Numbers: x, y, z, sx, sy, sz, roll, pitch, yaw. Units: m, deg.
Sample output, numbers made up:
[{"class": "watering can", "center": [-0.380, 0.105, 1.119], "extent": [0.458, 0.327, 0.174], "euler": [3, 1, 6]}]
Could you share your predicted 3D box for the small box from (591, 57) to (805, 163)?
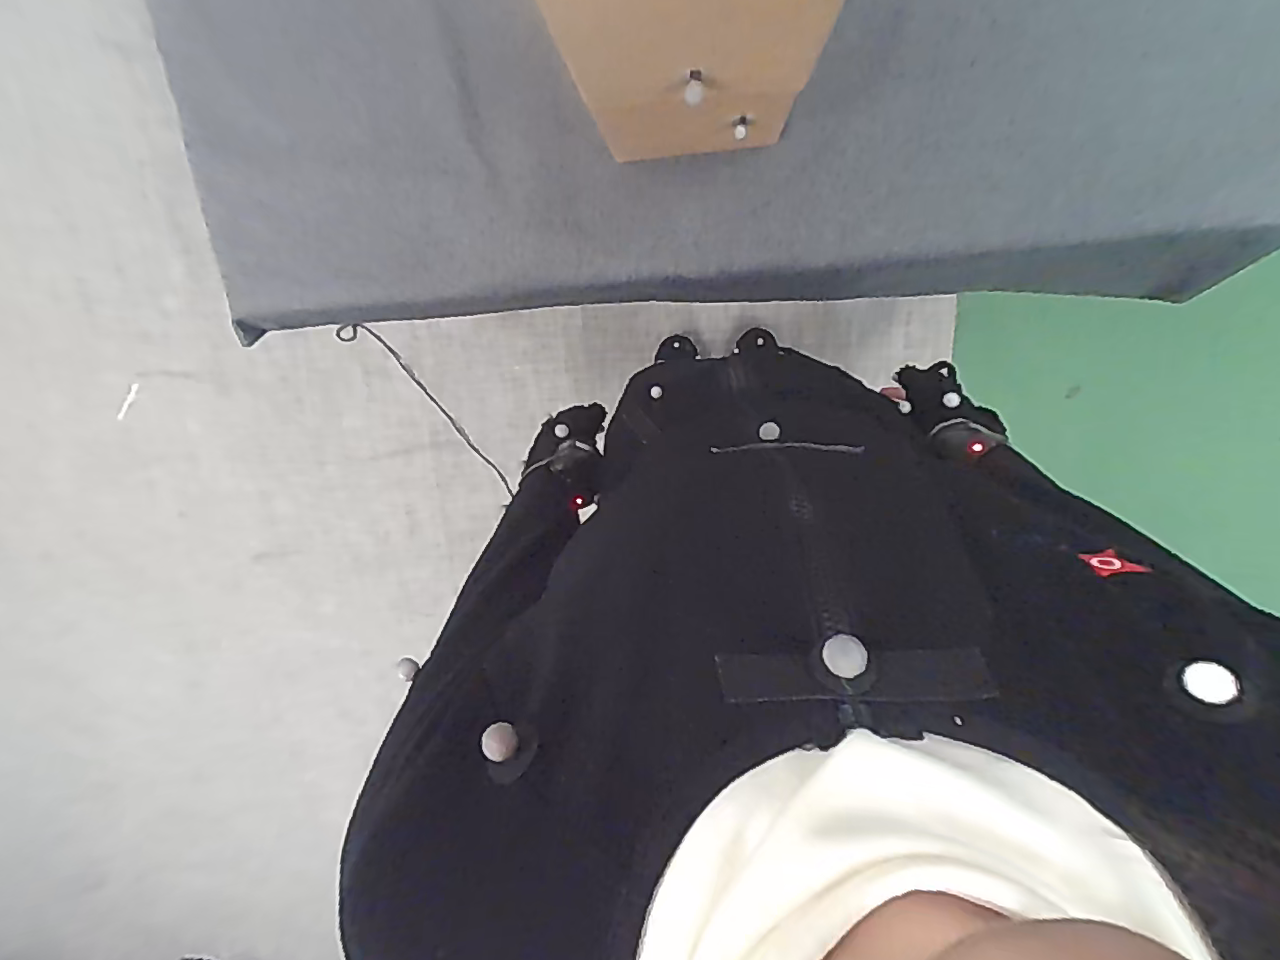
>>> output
[{"class": "small box", "center": [0.047, -0.414, 0.497], "extent": [0.179, 0.176, 0.168], "euler": [-3, 105, 8]}]

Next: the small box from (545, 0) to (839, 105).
[{"class": "small box", "center": [0.033, -0.366, 0.341], "extent": [0.179, 0.176, 0.168], "euler": [-2, 105, 5]}]
